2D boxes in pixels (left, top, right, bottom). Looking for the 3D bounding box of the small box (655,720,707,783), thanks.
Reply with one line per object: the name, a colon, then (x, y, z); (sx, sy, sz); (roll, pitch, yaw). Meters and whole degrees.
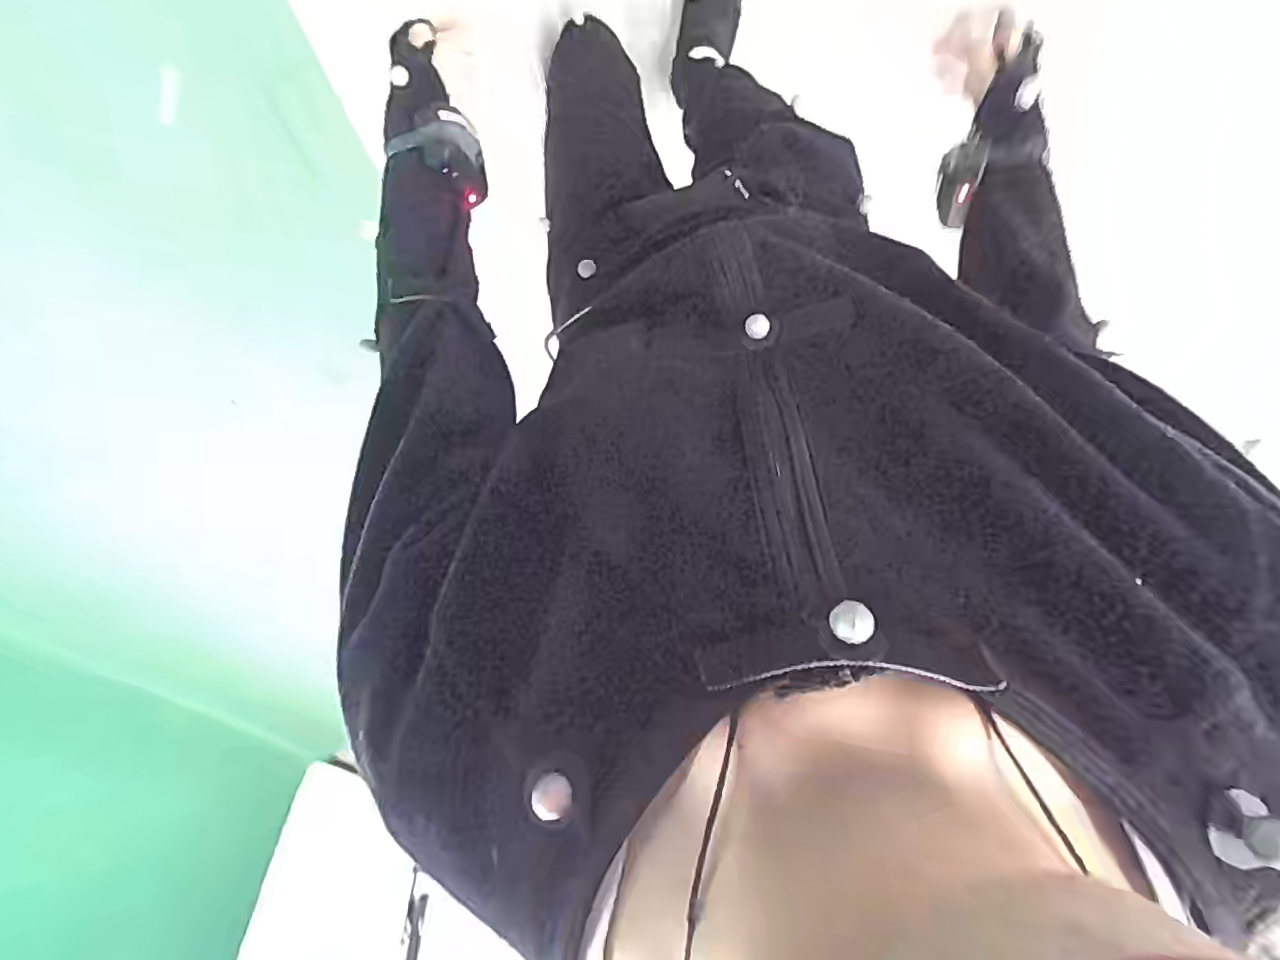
small box: (0.148, 0.972, 1.944); (0.168, 0.176, 0.179); (-7, 140, 6)
